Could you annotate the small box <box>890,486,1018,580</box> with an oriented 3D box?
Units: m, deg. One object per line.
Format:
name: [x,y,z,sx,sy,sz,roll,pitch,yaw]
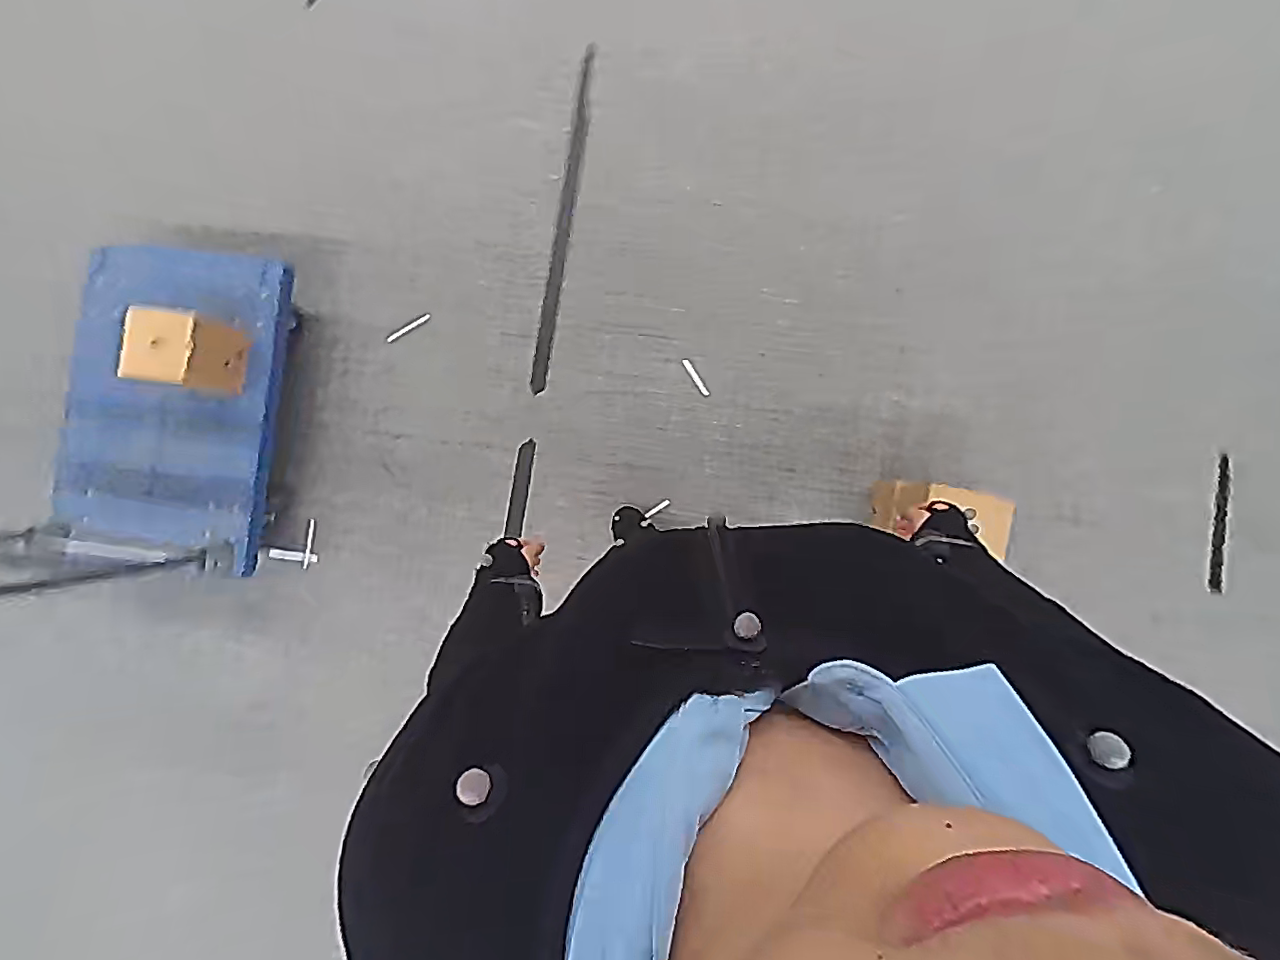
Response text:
small box: [0.693,0.114,1.211,0.179,0.176,0.168,13,87,6]

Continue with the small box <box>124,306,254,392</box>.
small box: [-1.133,-0.324,1.367,0.179,0.176,0.168,7,88,5]
